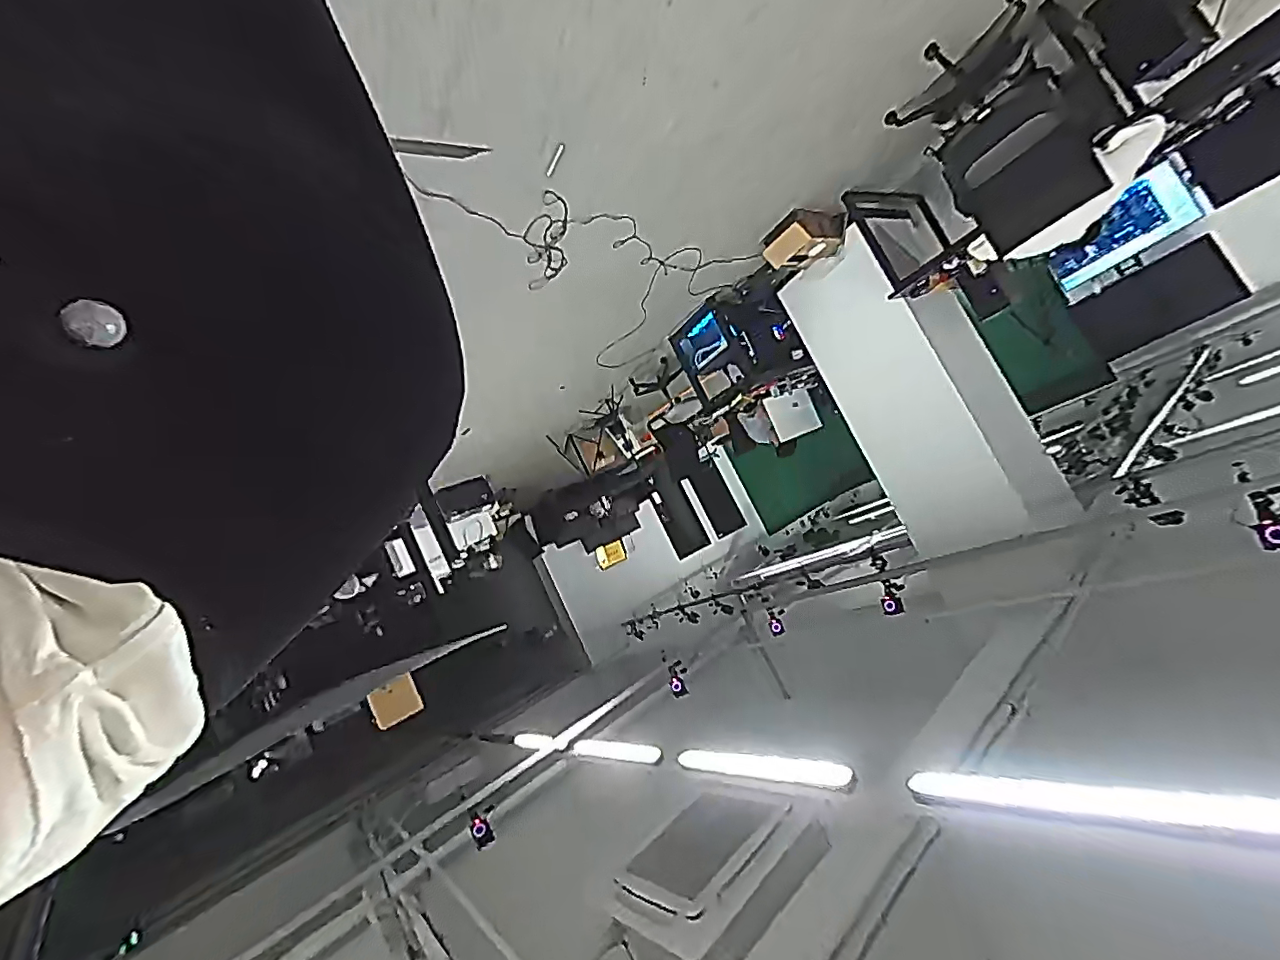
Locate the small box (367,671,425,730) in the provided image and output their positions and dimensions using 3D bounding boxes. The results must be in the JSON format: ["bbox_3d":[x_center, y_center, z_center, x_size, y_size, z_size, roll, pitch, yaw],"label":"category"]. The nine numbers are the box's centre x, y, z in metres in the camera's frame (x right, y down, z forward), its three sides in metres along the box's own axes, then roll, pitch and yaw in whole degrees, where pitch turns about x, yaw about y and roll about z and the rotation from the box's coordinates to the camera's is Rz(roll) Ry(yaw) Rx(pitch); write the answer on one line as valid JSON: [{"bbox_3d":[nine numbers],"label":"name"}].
[{"bbox_3d":[-1.011,0.906,2.234,0.168,0.176,0.179,-22,172,-35],"label":"small box"}]
